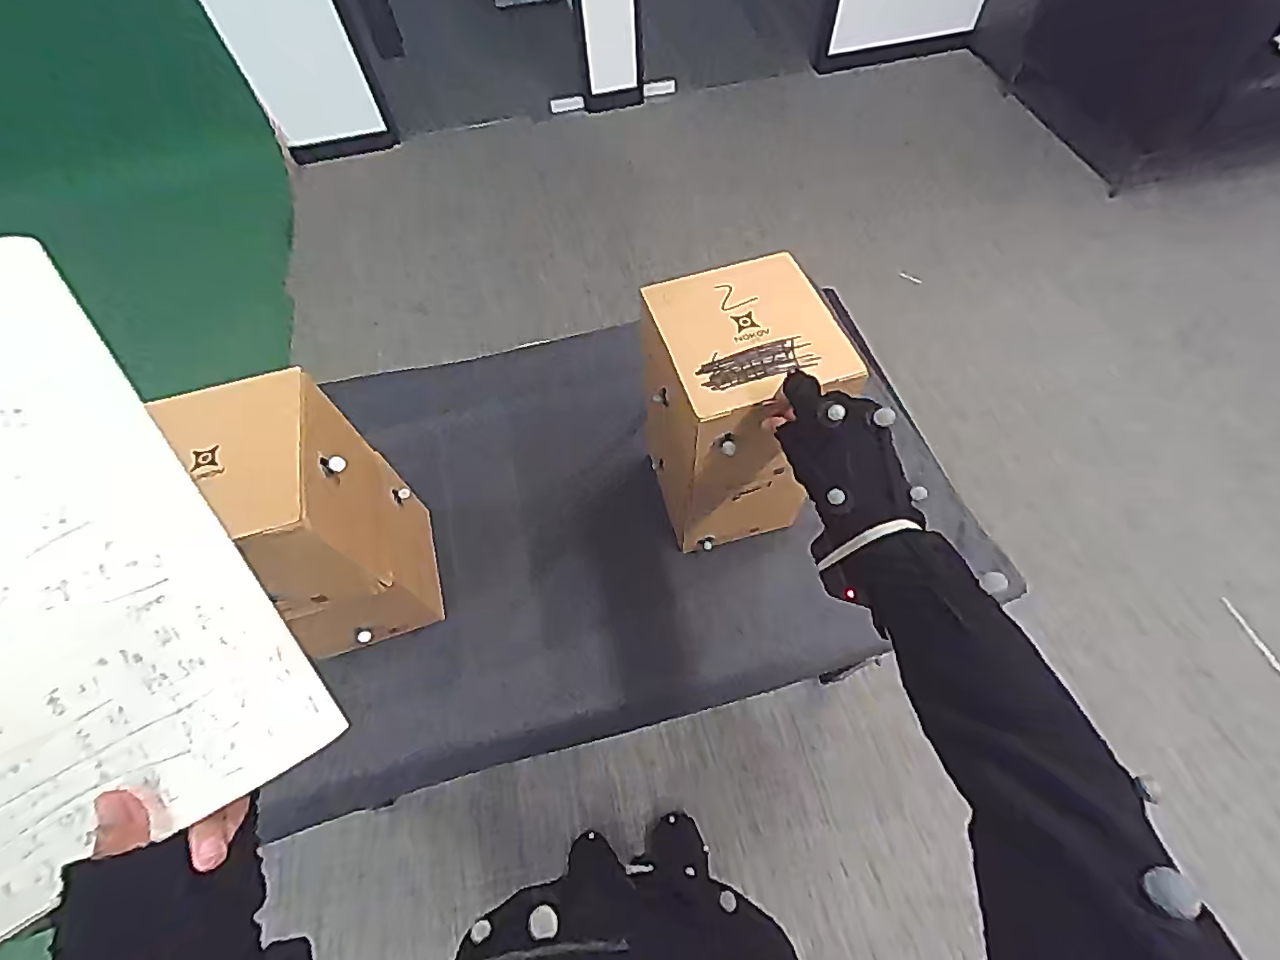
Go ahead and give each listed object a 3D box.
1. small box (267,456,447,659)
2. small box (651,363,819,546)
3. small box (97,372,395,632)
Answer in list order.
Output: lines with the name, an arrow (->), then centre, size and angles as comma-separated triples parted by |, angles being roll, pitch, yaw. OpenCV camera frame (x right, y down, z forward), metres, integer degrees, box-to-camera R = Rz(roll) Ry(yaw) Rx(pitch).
small box -> -0.360, 0.102, 0.681 | 0.168, 0.176, 0.179 | -17, 61, -7
small box -> 0.117, -0.024, 0.734 | 0.168, 0.176, 0.179 | -14, 60, -5
small box -> -0.362, 0.028, 0.536 | 0.168, 0.176, 0.179 | -16, 61, -7
